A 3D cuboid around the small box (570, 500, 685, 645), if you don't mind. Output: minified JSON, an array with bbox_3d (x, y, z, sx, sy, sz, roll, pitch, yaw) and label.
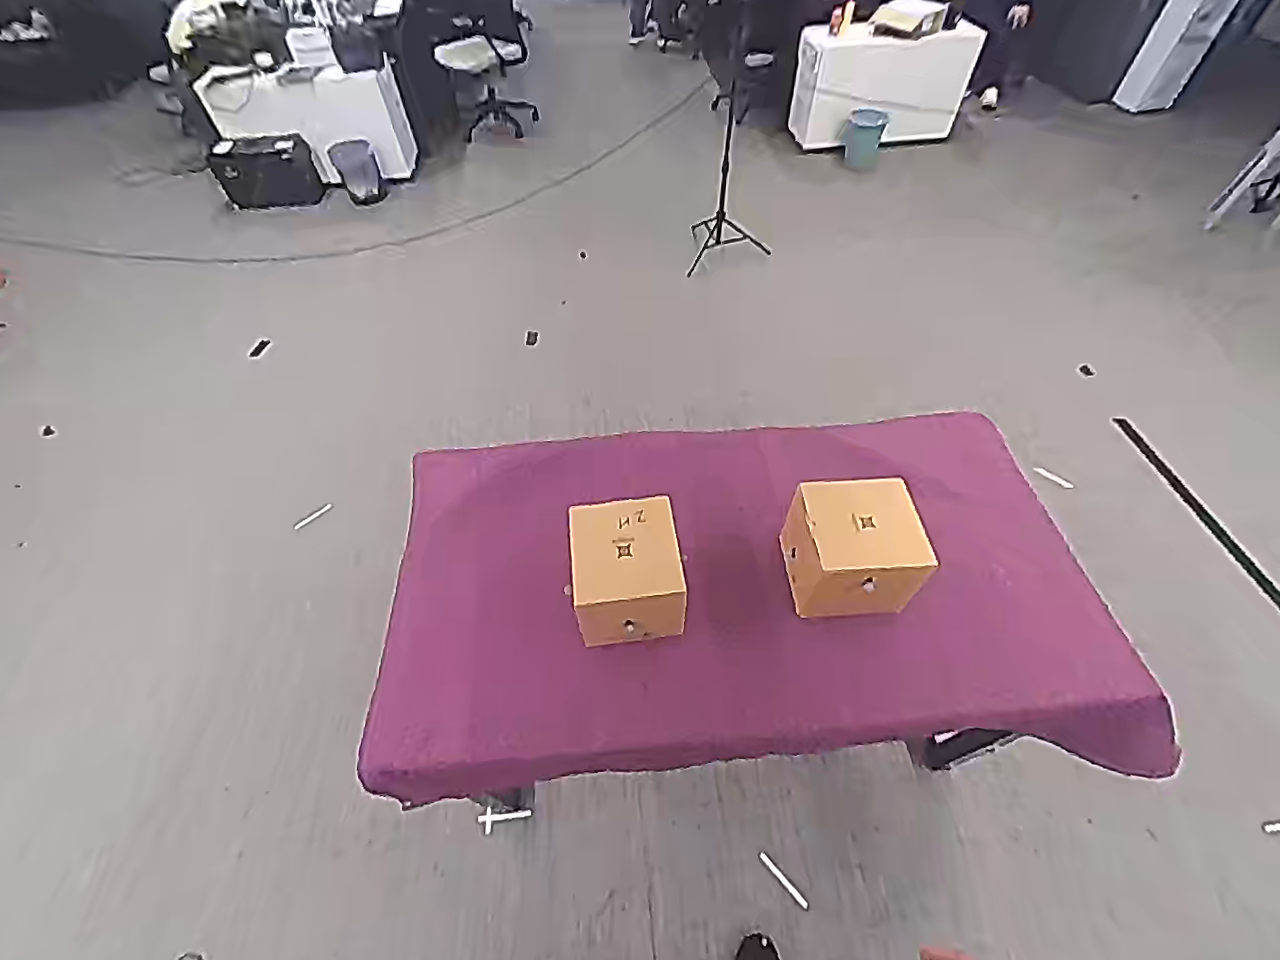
[{"bbox_3d":[-0.020,0.158,0.885,0.168,0.176,0.179,-6,52,-3],"label":"small box"}]

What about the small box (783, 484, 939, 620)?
[{"bbox_3d":[0.353,0.123,0.902,0.179,0.176,0.168,-3,53,0],"label":"small box"}]
